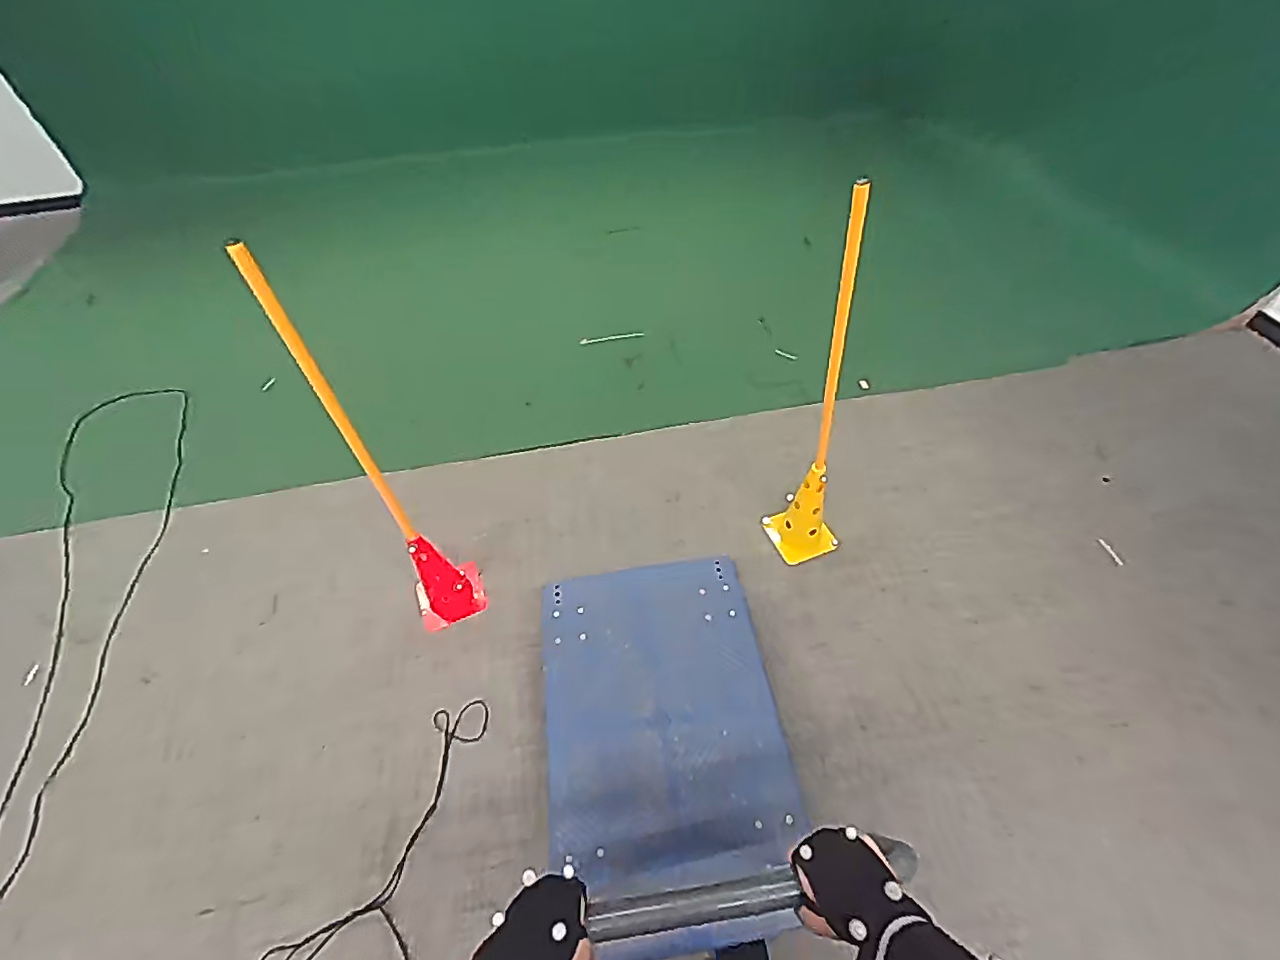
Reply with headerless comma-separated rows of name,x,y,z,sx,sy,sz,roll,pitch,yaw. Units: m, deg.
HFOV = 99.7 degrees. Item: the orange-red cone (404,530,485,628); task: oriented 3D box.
orange-red cone,-0.627,0.265,1.634,0.199,0.360,0.198,-22,53,-12
